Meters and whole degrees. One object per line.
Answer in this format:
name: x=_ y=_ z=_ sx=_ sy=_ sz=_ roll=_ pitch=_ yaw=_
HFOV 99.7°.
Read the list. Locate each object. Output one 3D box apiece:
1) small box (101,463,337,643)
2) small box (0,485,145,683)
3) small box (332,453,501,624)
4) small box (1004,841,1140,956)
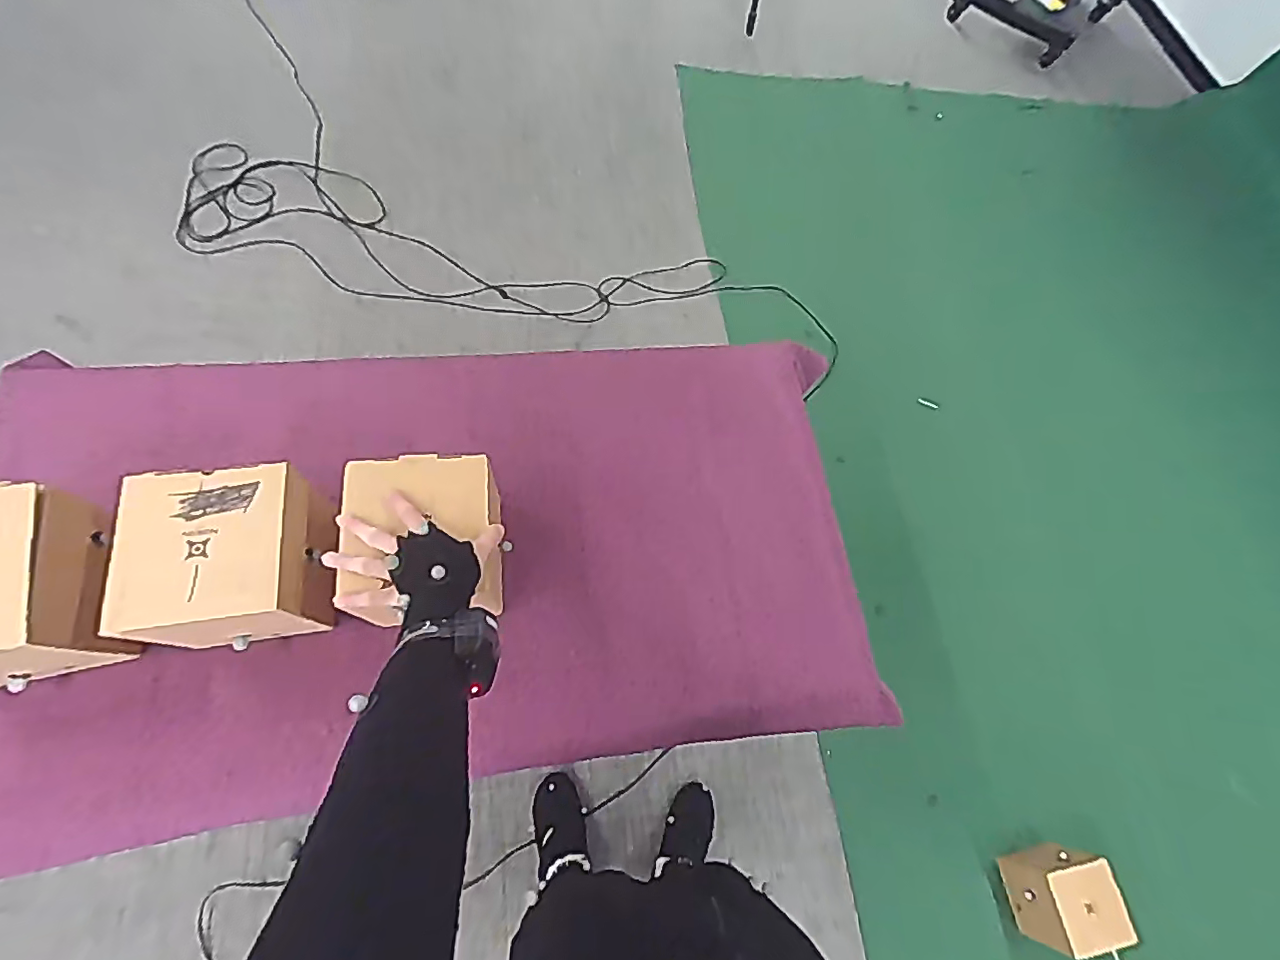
small box: x=-0.493 y=0.095 z=0.666 sx=0.168 sy=0.176 sz=0.179 roll=-6 pitch=71 yaw=-10
small box: x=-0.714 y=0.126 z=0.623 sx=0.168 sy=0.176 sz=0.179 roll=-10 pitch=71 yaw=-11
small box: x=-0.275 y=0.081 z=0.704 sx=0.168 sy=0.176 sz=0.179 roll=-4 pitch=69 yaw=-9
small box: x=1.027 y=1.003 z=1.310 sx=0.179 sy=0.176 sz=0.168 roll=-5 pitch=69 yaw=-11
